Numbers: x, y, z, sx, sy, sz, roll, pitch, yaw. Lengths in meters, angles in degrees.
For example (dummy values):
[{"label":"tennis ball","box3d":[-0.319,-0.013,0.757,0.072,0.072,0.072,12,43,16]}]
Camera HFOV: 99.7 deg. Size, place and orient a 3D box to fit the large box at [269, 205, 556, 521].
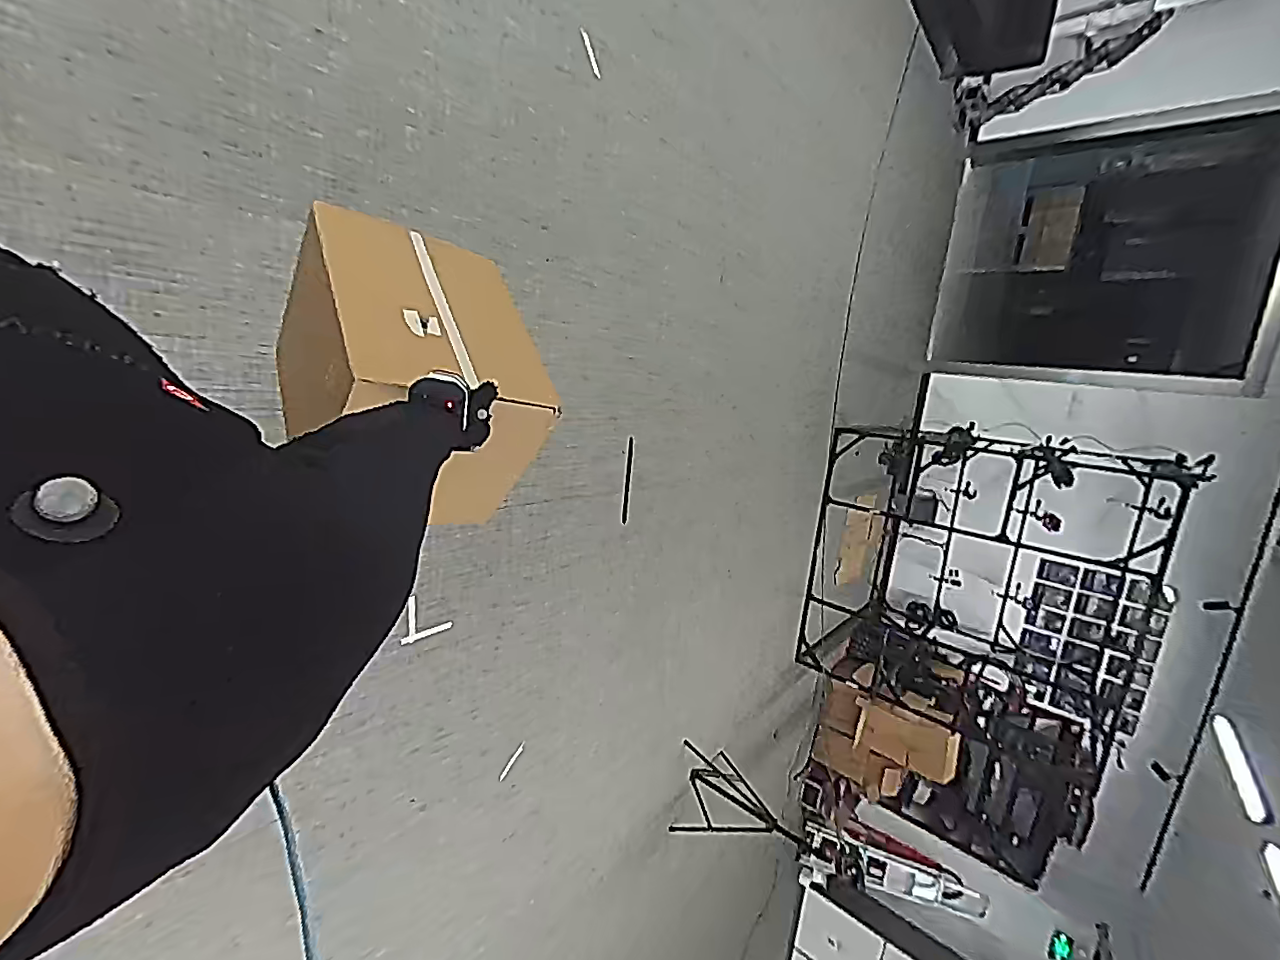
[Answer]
[{"label":"large box","box3d":[-0.413,-0.179,0.943,0.320,0.408,0.320,3,140,-45]}]
